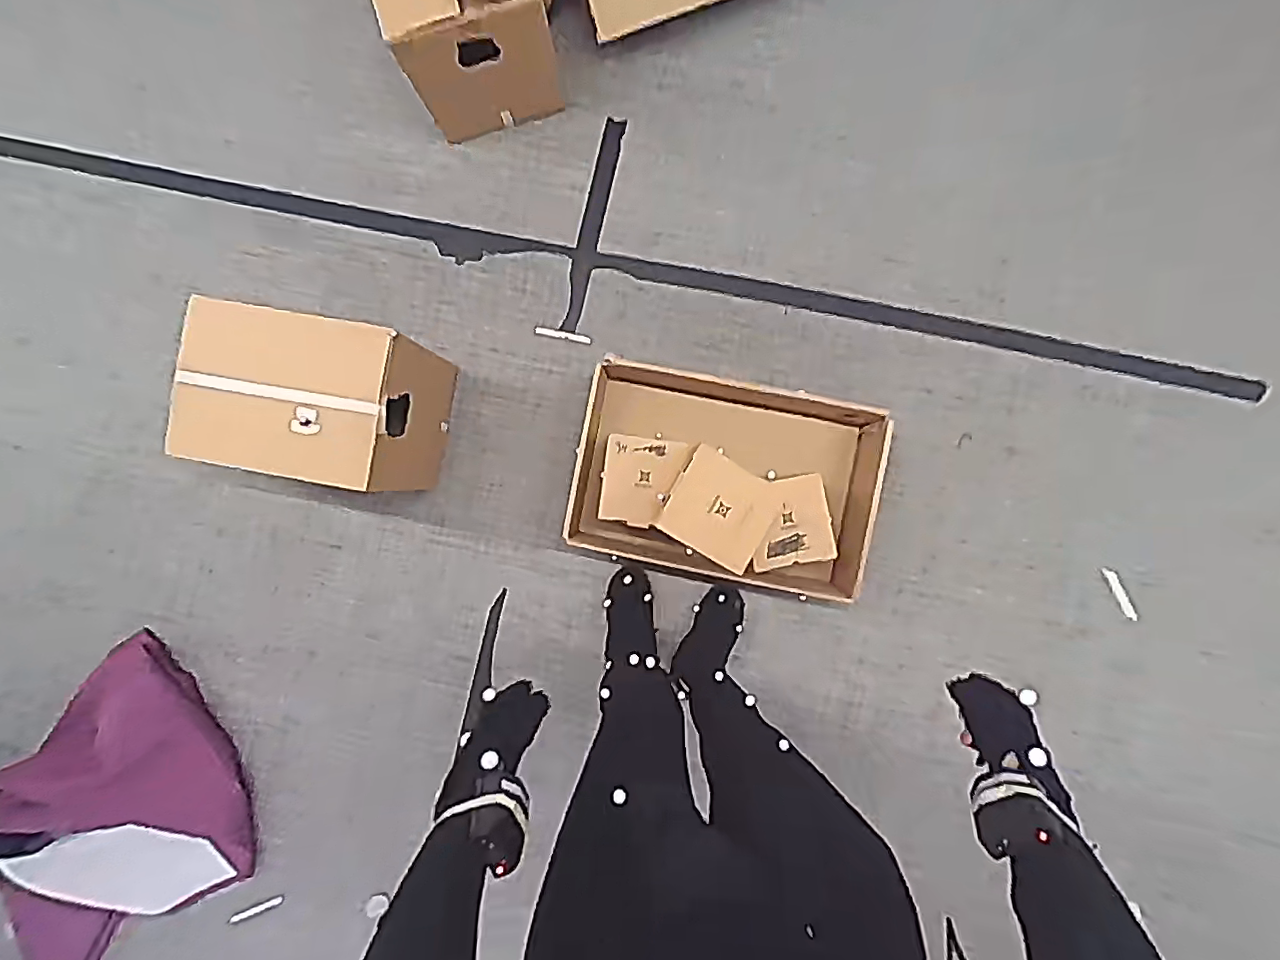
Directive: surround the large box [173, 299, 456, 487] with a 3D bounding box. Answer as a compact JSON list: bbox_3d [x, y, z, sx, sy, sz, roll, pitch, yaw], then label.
[{"bbox_3d":[-0.668,-0.165,1.171,0.408,0.320,0.320,9,90,2],"label":"large box"}]
